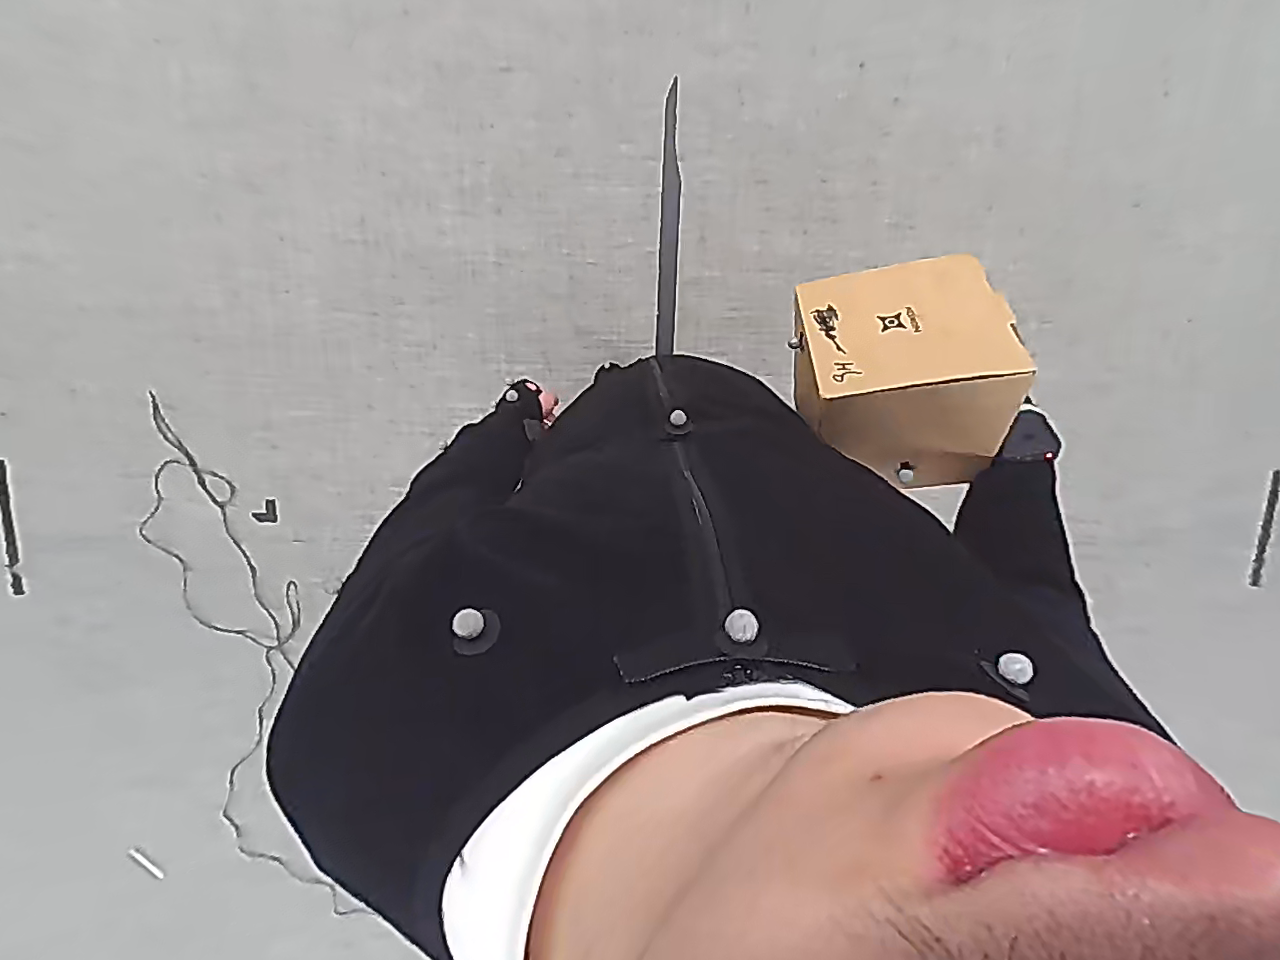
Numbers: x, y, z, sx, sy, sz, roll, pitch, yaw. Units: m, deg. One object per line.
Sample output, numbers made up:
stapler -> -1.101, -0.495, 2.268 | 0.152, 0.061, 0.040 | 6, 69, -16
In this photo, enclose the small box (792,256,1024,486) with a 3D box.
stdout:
small box -> 0.267, -0.110, 0.591 | 0.179, 0.168, 0.176 | -6, 144, 10
